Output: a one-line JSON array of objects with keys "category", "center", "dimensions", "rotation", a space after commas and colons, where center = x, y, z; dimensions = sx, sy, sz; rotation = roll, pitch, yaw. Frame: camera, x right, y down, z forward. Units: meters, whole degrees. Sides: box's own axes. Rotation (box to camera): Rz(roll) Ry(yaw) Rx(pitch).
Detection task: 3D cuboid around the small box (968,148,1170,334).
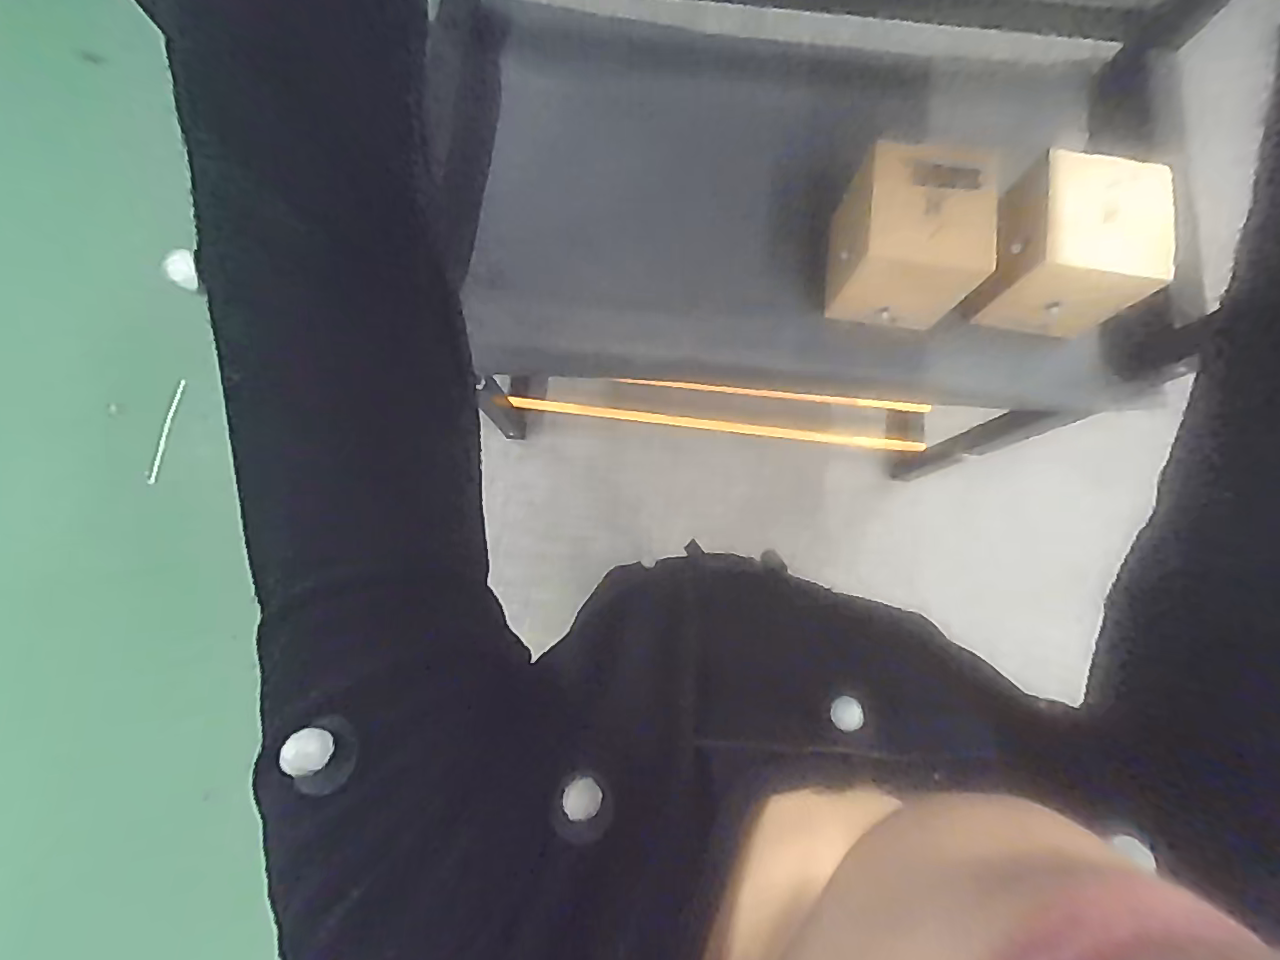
[{"category": "small box", "center": [0.607, -0.333, 0.784], "dimensions": [0.168, 0.176, 0.179], "rotation": [10, 78, 1]}]
